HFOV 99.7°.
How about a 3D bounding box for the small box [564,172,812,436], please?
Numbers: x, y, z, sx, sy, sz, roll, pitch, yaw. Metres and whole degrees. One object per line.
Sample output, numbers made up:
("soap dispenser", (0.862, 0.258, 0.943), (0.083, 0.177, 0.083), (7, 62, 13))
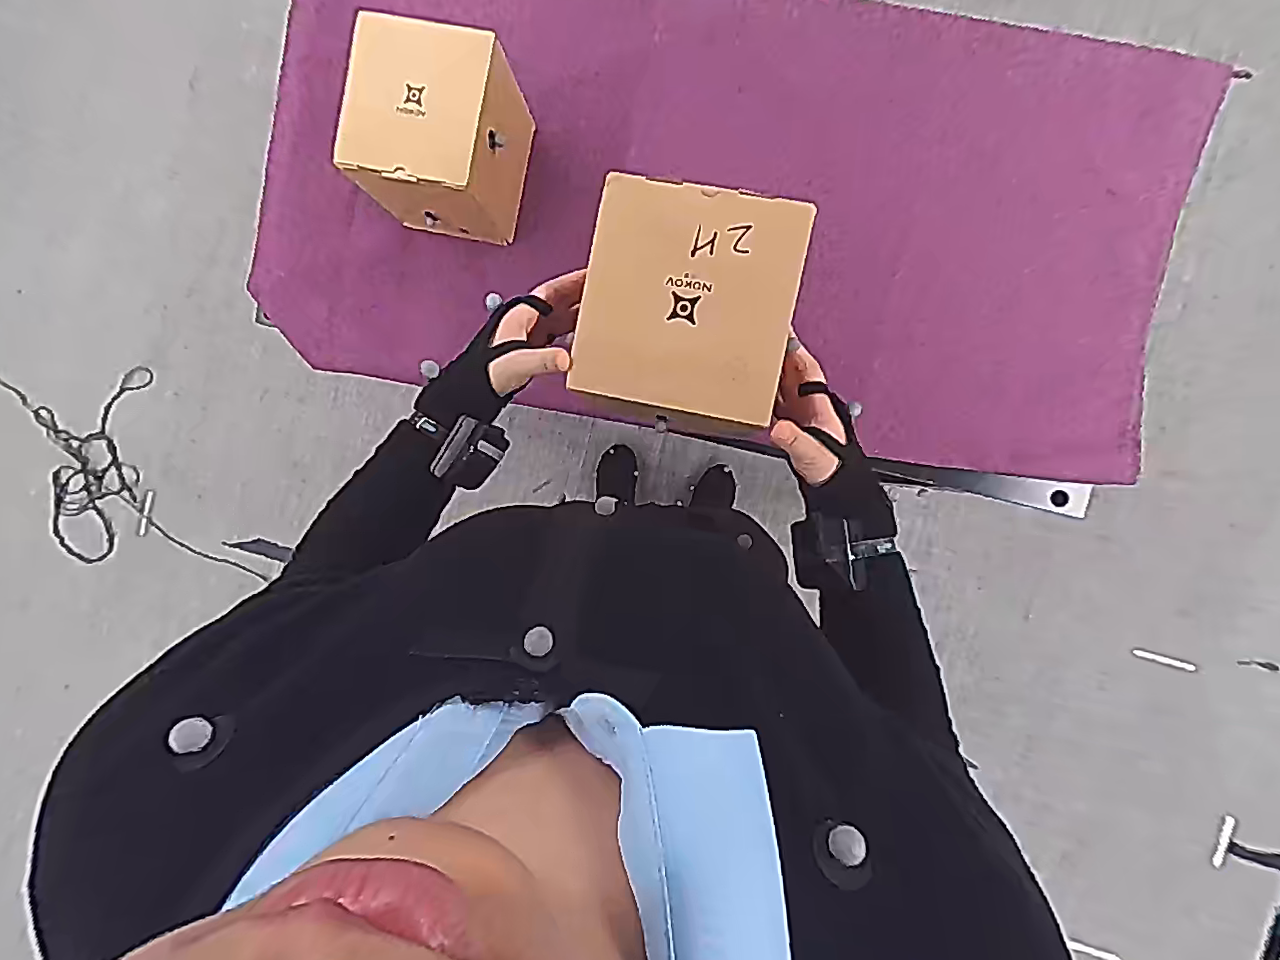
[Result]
("small box", (0.043, -0.142, 0.498), (0.168, 0.176, 0.179), (12, 91, 5))

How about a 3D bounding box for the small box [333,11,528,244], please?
("small box", (-0.253, -0.434, 0.693), (0.168, 0.176, 0.179), (12, 94, 3))
